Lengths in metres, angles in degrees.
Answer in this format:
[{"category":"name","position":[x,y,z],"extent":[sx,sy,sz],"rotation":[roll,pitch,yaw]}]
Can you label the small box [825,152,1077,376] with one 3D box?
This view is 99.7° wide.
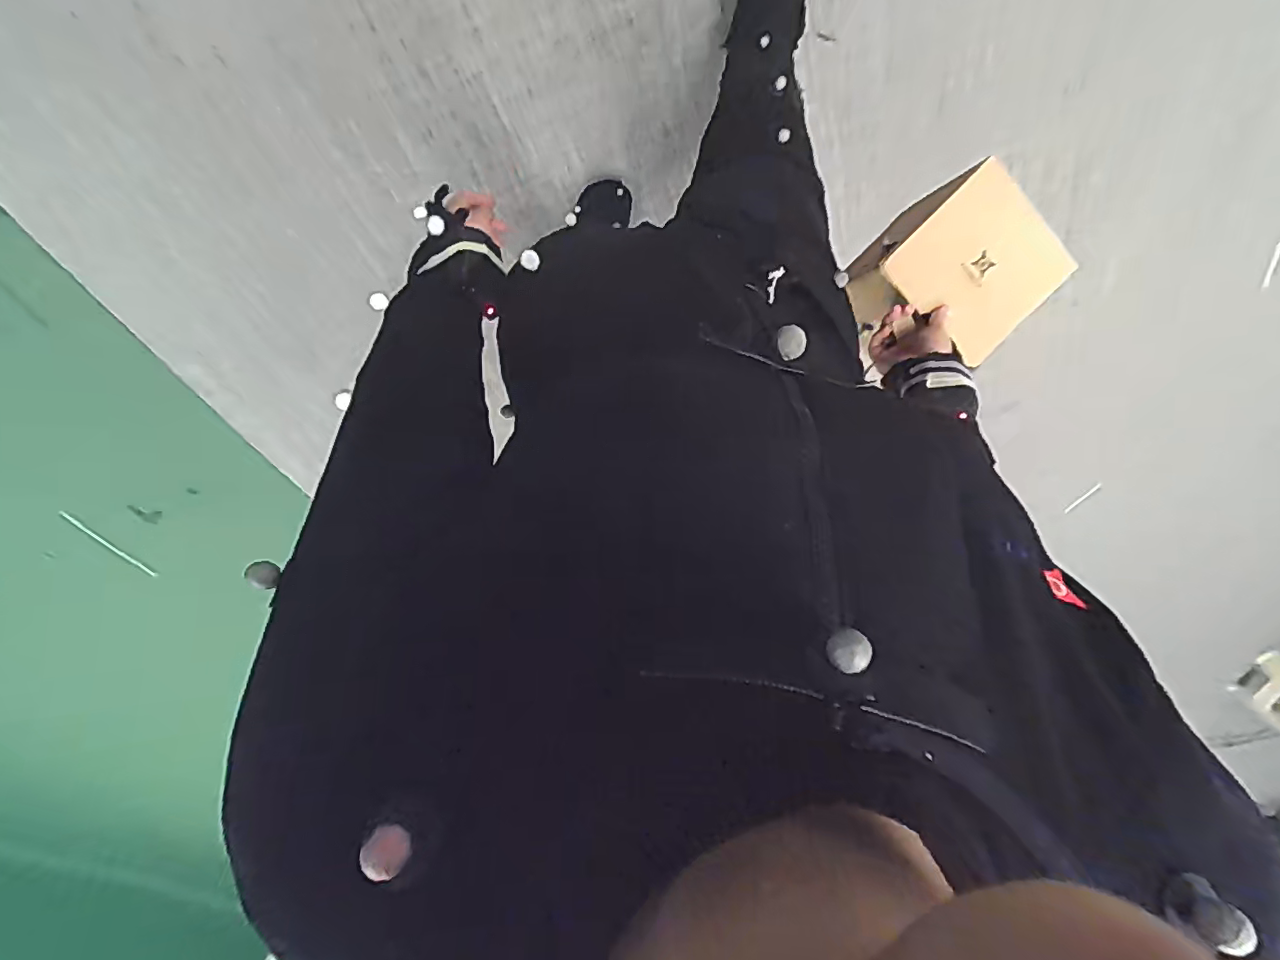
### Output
[{"category":"small box","position":[0.370,-0.250,0.676],"extent":[0.168,0.176,0.179],"rotation":[44,91,-9]}]
